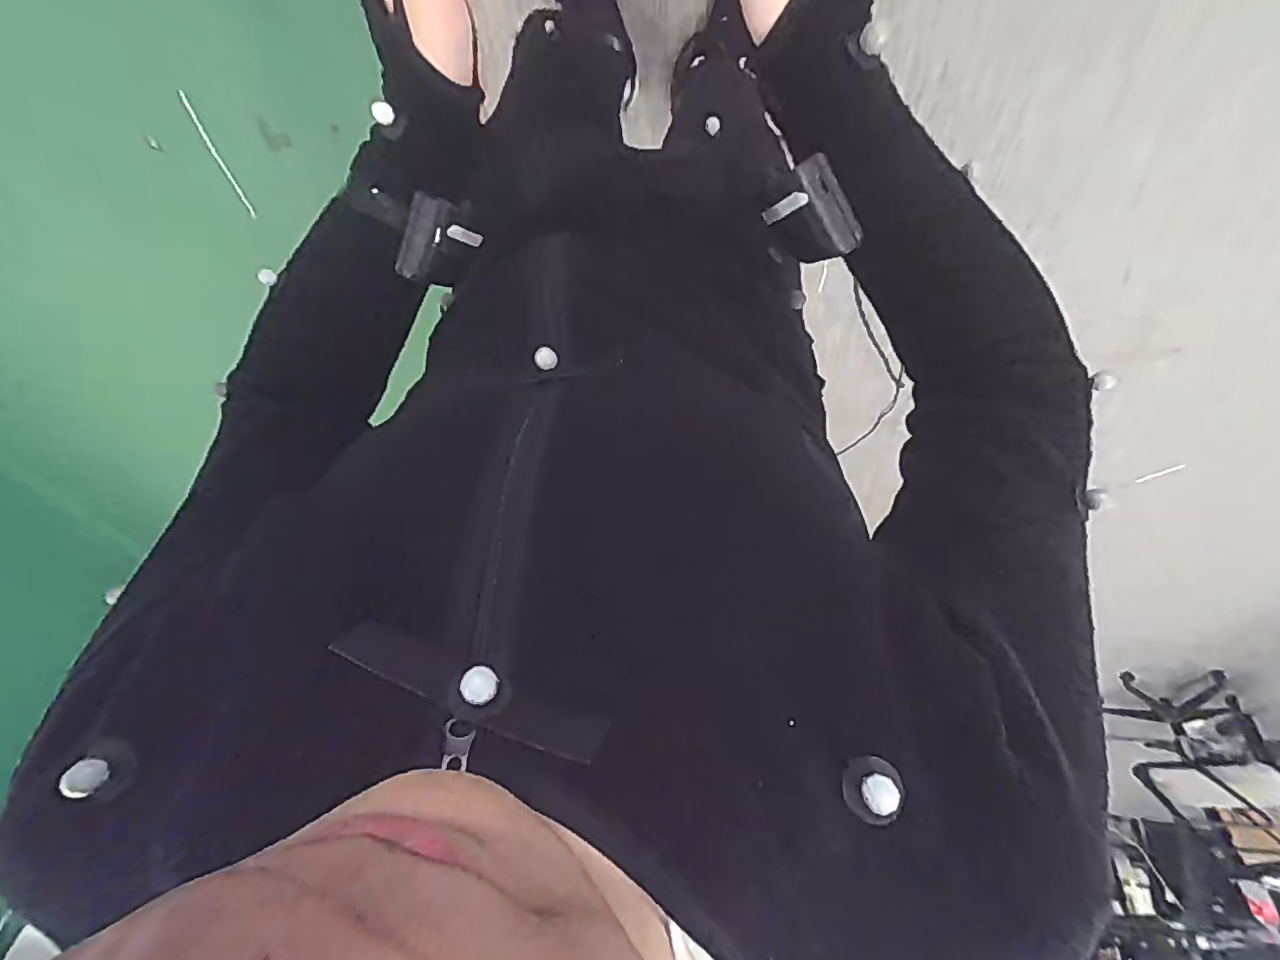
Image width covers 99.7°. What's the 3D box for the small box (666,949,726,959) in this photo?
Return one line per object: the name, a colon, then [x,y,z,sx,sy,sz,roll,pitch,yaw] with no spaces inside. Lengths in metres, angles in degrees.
small box: [0.140,1.284,1.337,0.168,0.176,0.179,5,142,8]
